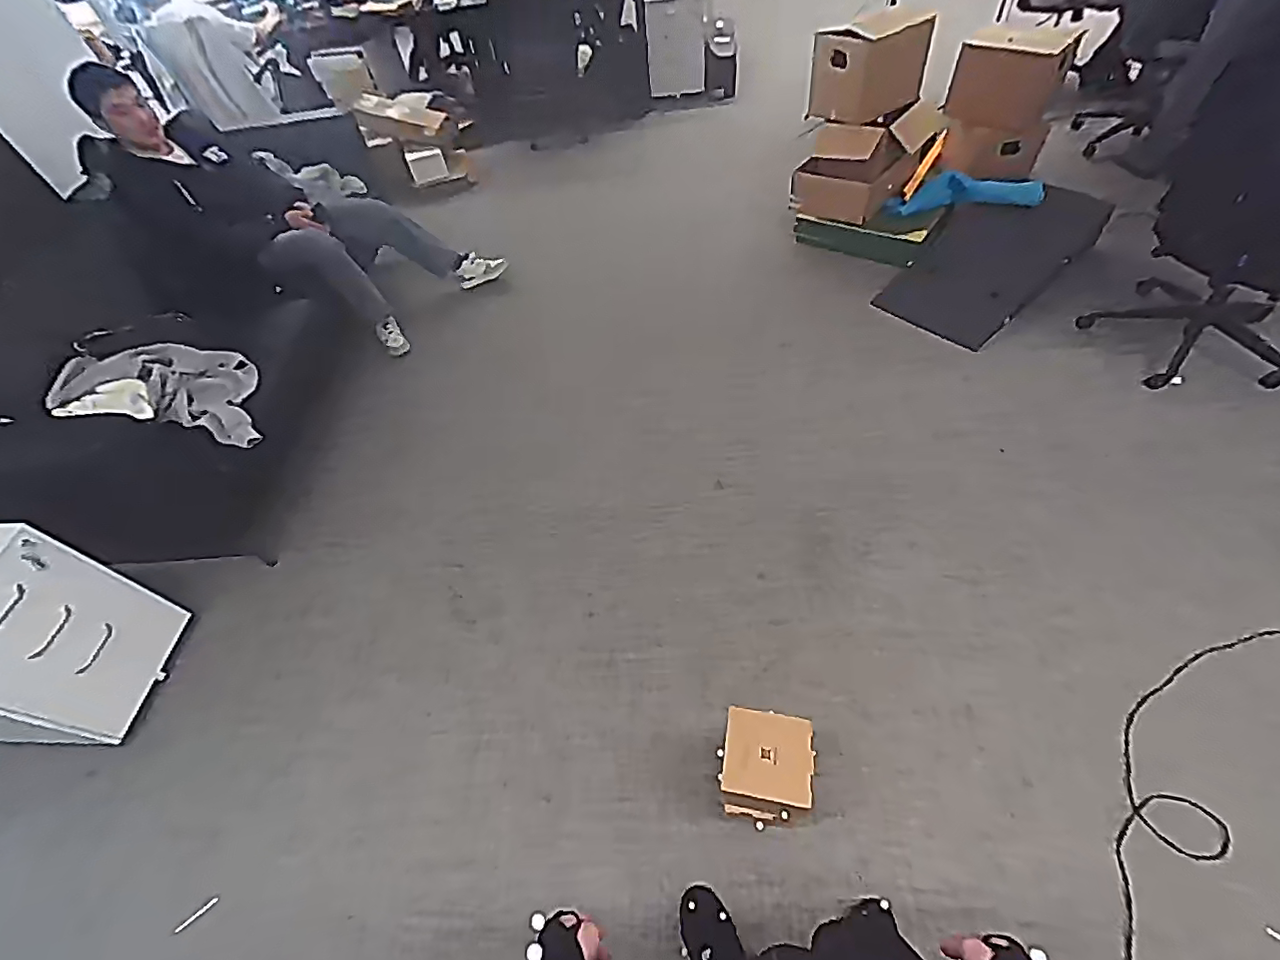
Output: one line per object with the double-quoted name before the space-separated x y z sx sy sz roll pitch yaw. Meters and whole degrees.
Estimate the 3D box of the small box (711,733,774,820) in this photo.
"small box" 0.289 0.688 1.297 0.179 0.176 0.168 -23 51 -7

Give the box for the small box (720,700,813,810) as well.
"small box" 0.272 0.599 1.171 0.179 0.176 0.168 5 52 14
